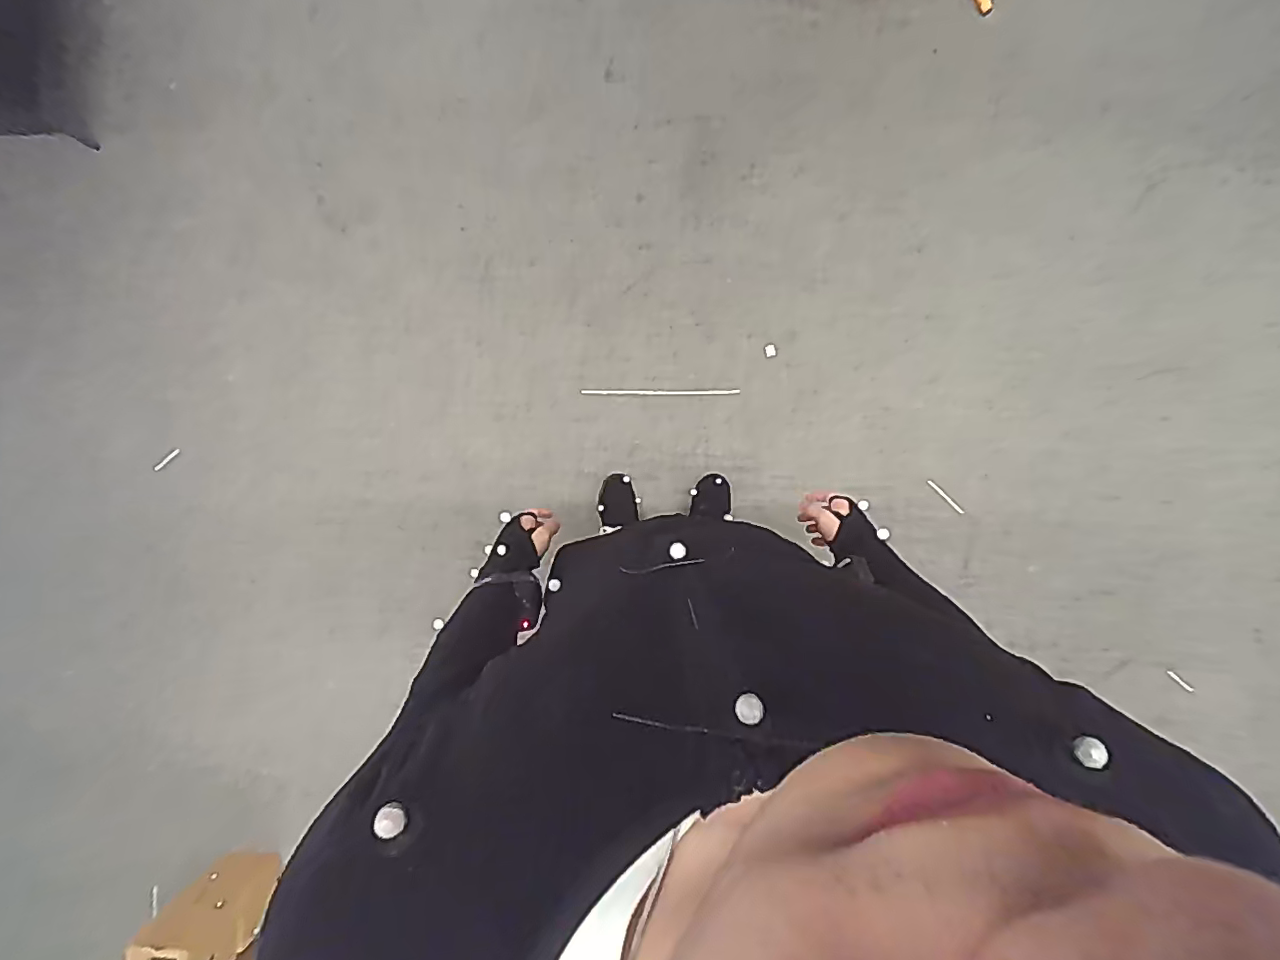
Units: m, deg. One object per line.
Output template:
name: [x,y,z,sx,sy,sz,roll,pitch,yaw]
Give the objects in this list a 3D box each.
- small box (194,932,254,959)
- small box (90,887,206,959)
small box: [-1.295,1.499,1.611,0.179,0.176,0.168,4,91,0]
small box: [-1.302,1.233,1.439,0.168,0.176,0.179,5,93,2]
